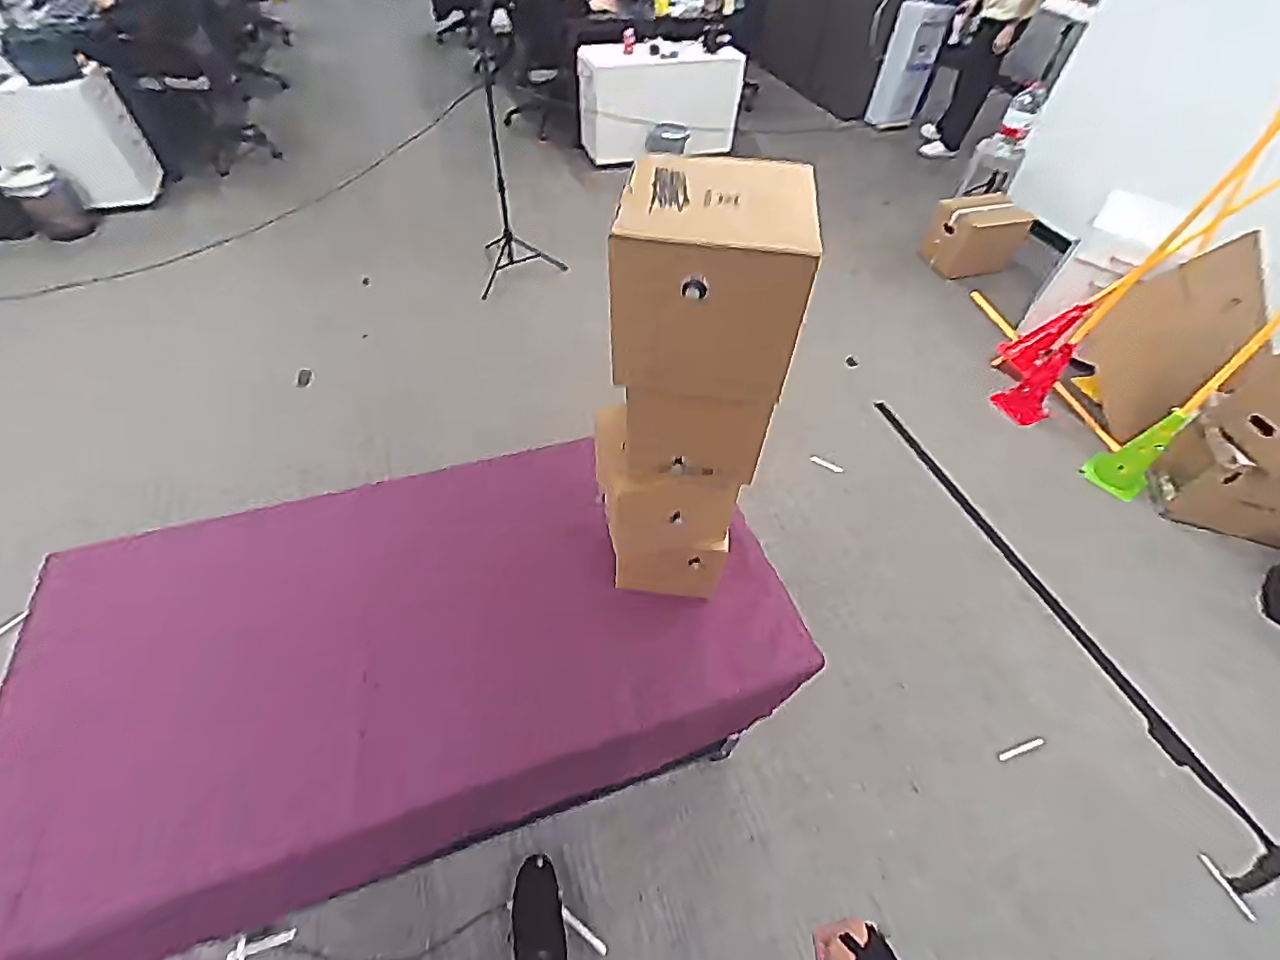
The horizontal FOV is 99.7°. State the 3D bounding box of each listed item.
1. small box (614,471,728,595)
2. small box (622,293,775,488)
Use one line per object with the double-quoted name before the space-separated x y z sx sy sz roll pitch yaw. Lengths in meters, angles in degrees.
"small box" 0.052 0.087 0.948 0.179 0.176 0.168 7 51 2
"small box" 0.065 -0.112 0.688 0.168 0.176 0.179 3 53 1
